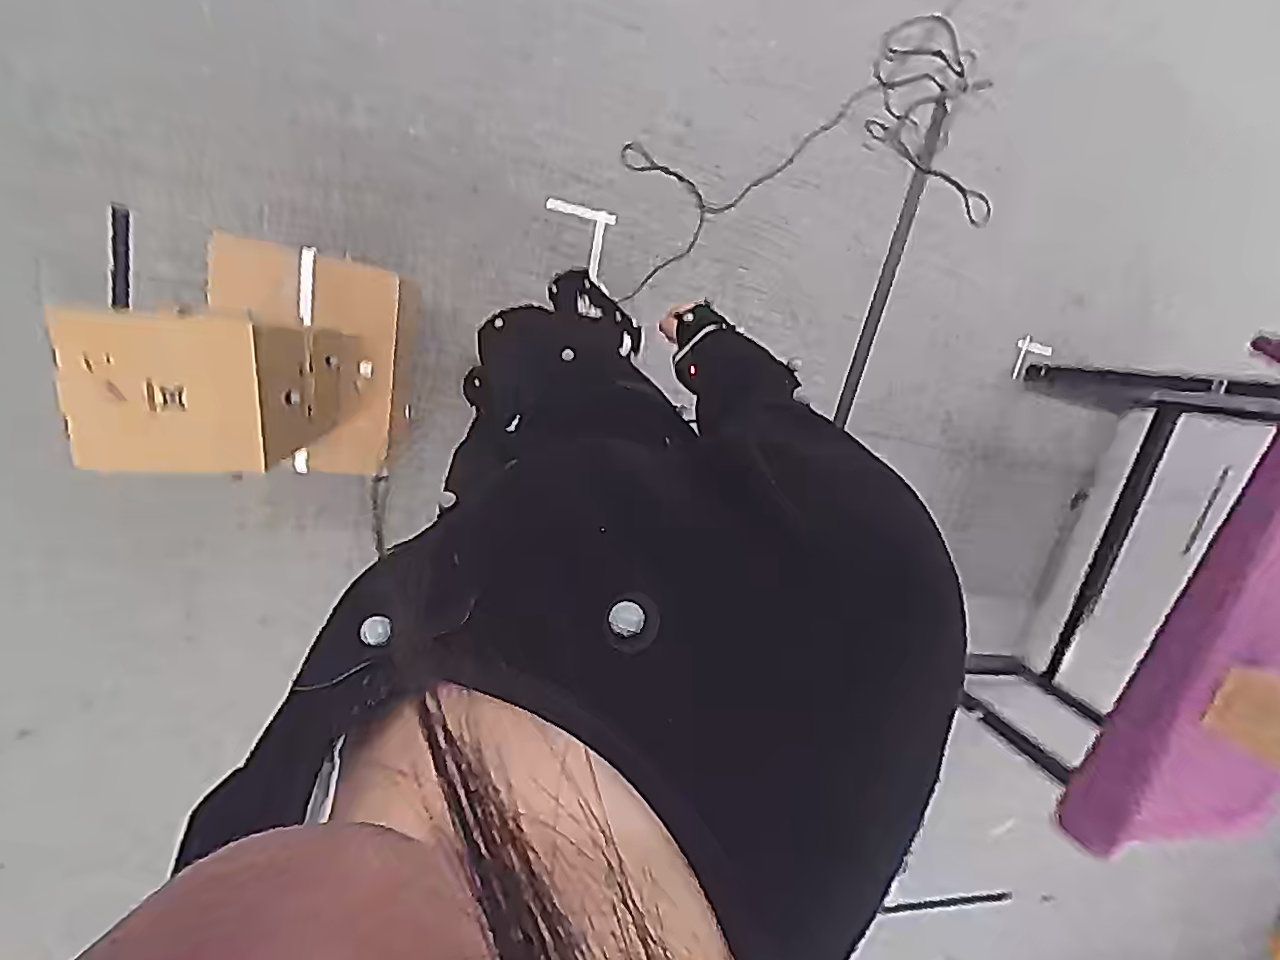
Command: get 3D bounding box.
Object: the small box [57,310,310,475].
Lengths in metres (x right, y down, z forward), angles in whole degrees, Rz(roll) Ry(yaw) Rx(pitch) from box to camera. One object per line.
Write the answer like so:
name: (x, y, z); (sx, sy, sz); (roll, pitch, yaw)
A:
small box: (-0.508, -0.105, 0.638); (0.179, 0.176, 0.168); (0, 103, -16)

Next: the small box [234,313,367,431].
small box: (-0.595, -0.189, 0.943); (0.179, 0.176, 0.168); (6, 104, -17)

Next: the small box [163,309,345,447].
small box: (-0.547, -0.151, 0.792); (0.179, 0.176, 0.168); (4, 103, -16)

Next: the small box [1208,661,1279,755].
small box: (1.512, 0.543, 1.272); (0.179, 0.176, 0.168); (9, 102, -18)
